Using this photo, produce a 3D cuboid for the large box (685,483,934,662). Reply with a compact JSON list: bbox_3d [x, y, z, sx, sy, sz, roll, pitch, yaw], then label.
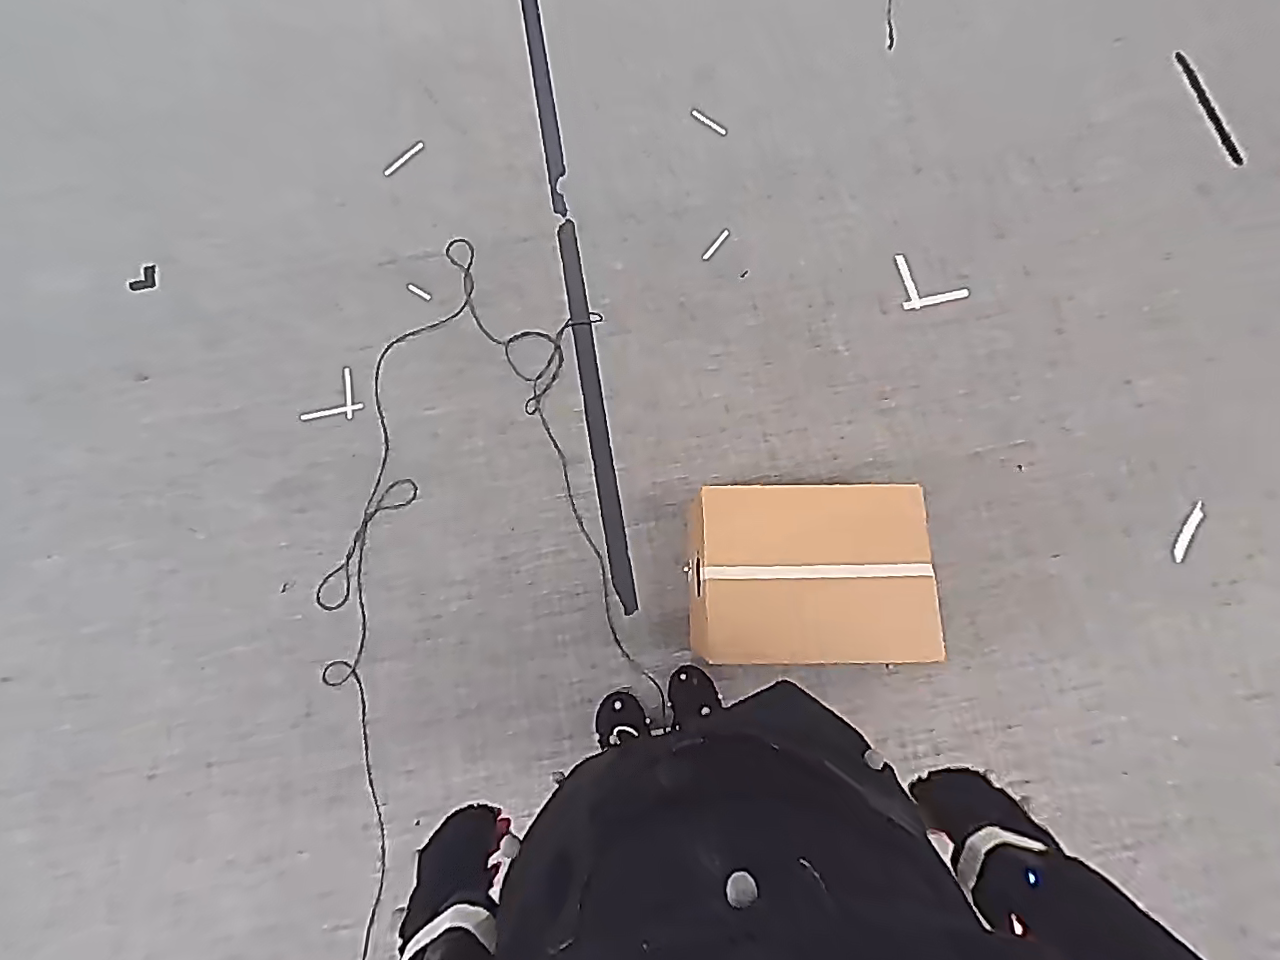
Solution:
[{"bbox_3d":[0.308,0.192,1.106,0.408,0.320,0.320,0,76,0],"label":"large box"}]
